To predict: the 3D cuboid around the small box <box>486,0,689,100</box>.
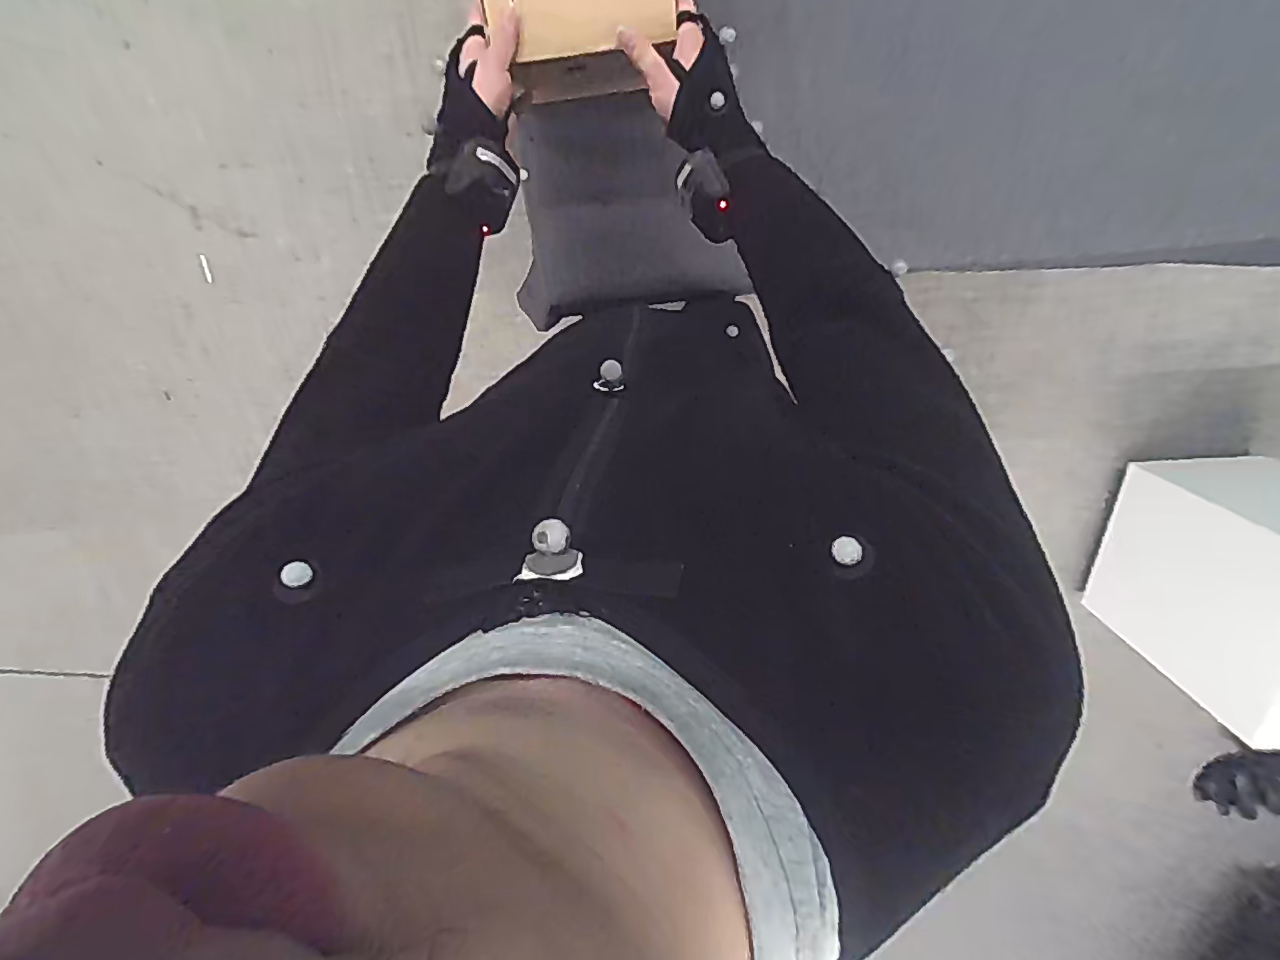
[{"bbox_3d":[-0.055,-0.489,0.520,0.179,0.176,0.168,-8,114,-1],"label":"small box"}]
